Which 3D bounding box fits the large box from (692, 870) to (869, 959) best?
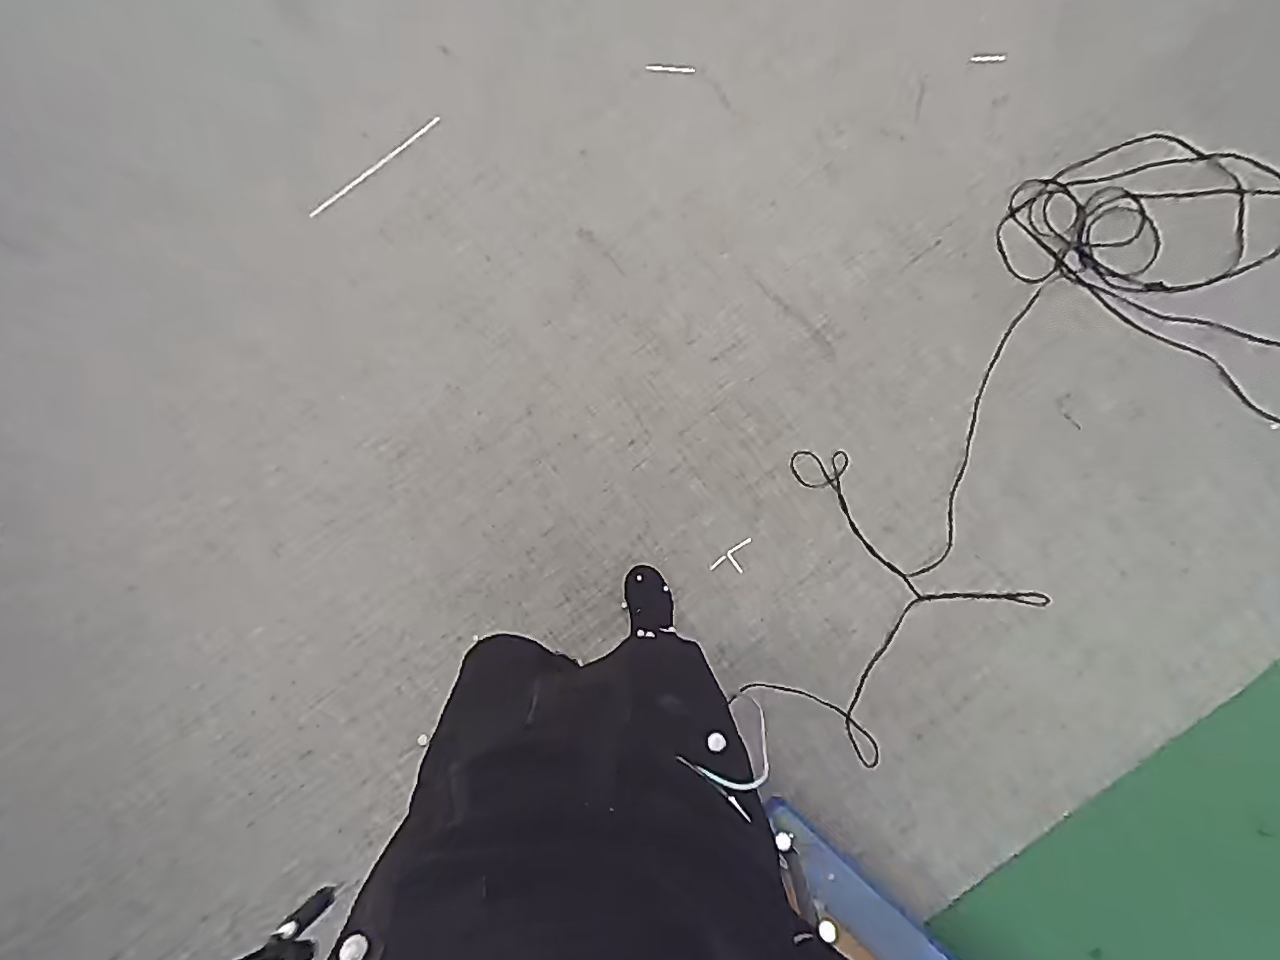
[{"bbox_3d":[0.328,1.078,1.020,0.408,0.320,0.320,43,89,6],"label":"large box"}]
